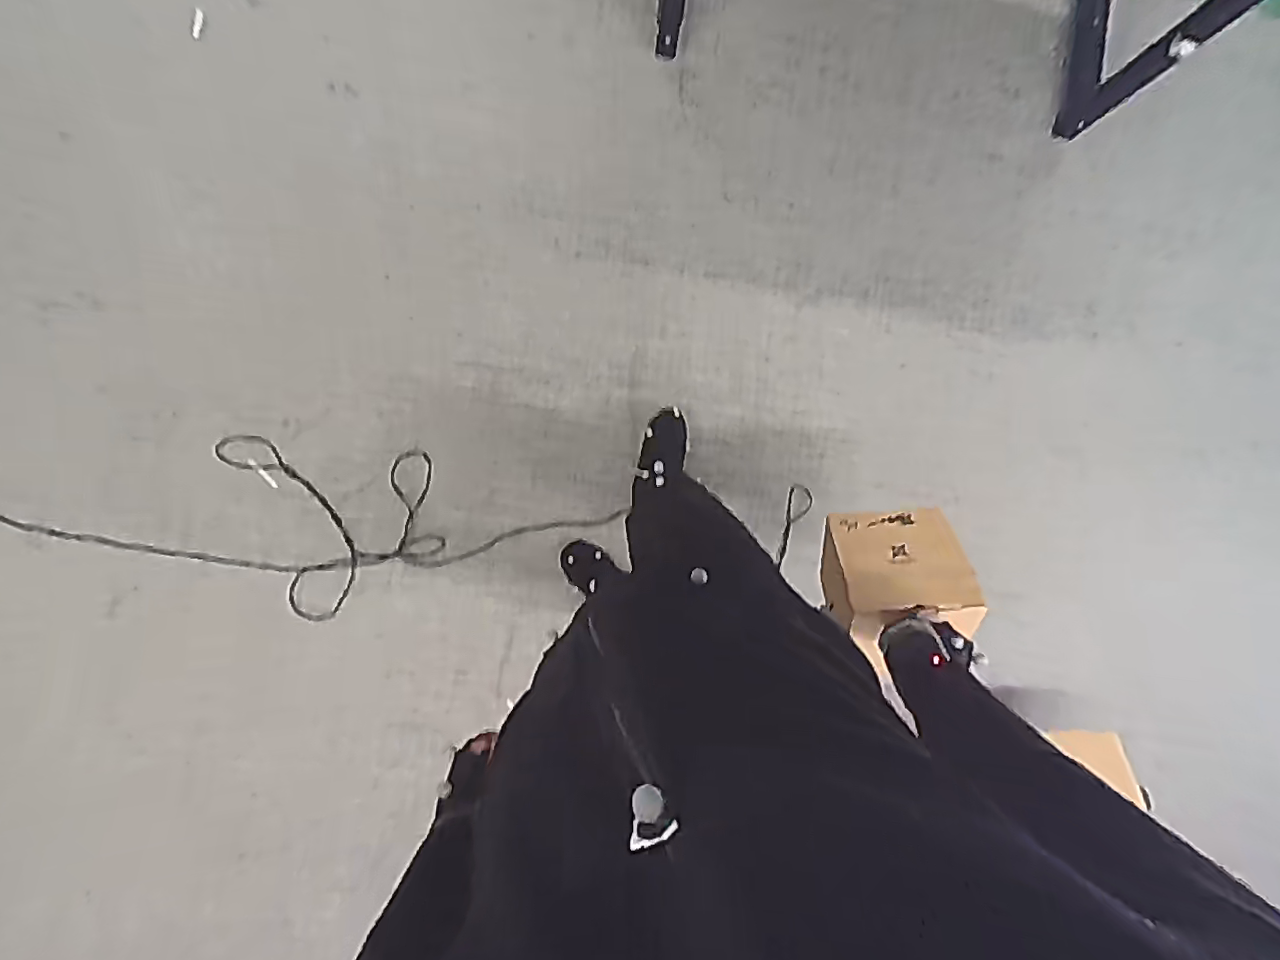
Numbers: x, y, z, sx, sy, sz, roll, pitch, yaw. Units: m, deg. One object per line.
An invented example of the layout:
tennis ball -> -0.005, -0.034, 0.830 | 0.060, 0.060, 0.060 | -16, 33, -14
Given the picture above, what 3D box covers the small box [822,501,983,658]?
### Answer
small box -> 0.377, 0.156, 0.812 | 0.168, 0.176, 0.179 | -5, 46, 8
